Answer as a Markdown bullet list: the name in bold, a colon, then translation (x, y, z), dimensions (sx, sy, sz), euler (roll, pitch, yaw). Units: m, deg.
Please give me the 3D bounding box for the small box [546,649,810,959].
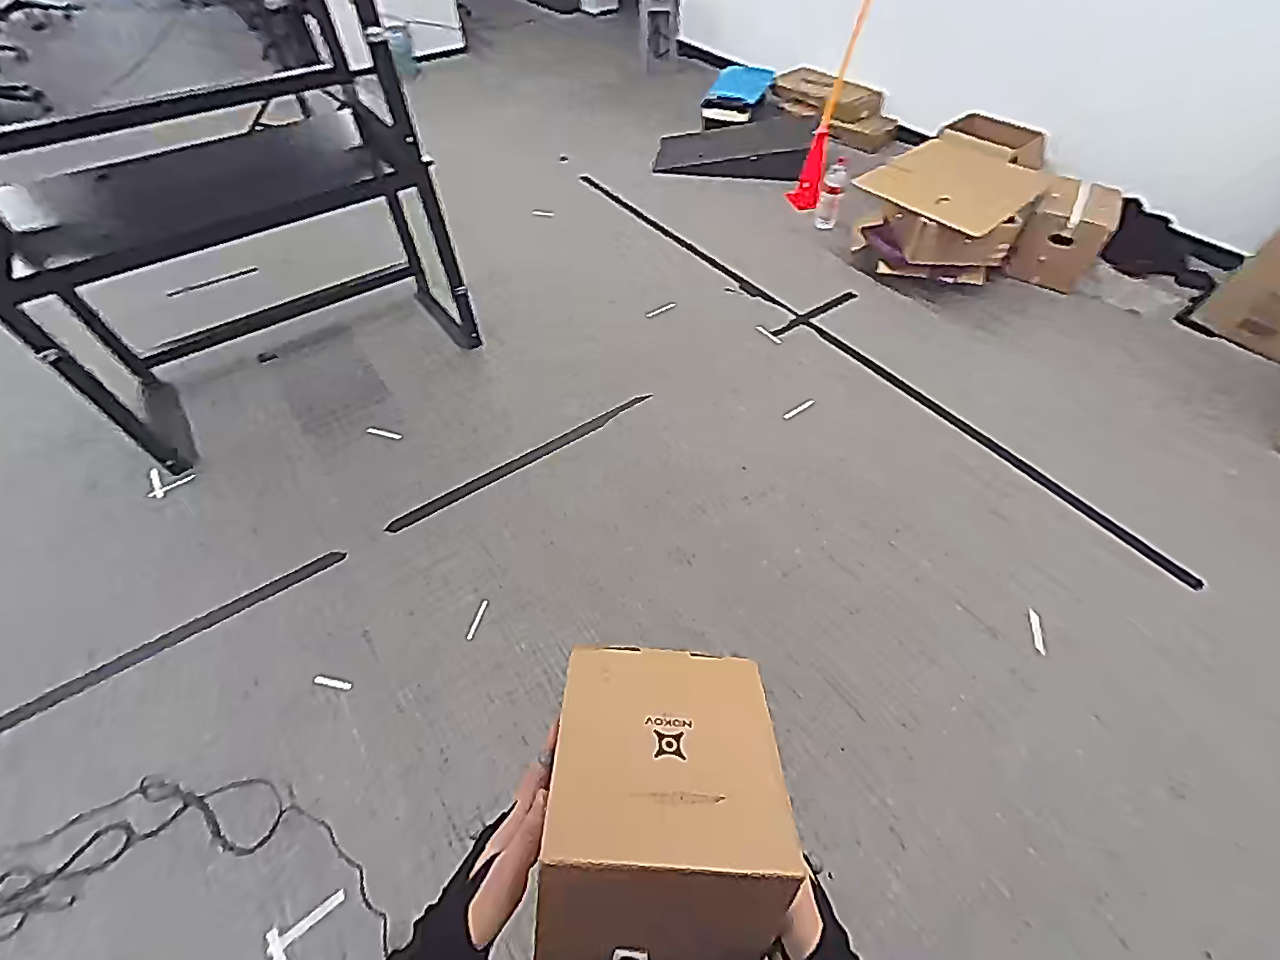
- **small box**: translation (0.017, 0.268, 0.444), dimensions (0.168, 0.176, 0.179), euler (5, 29, -3)
